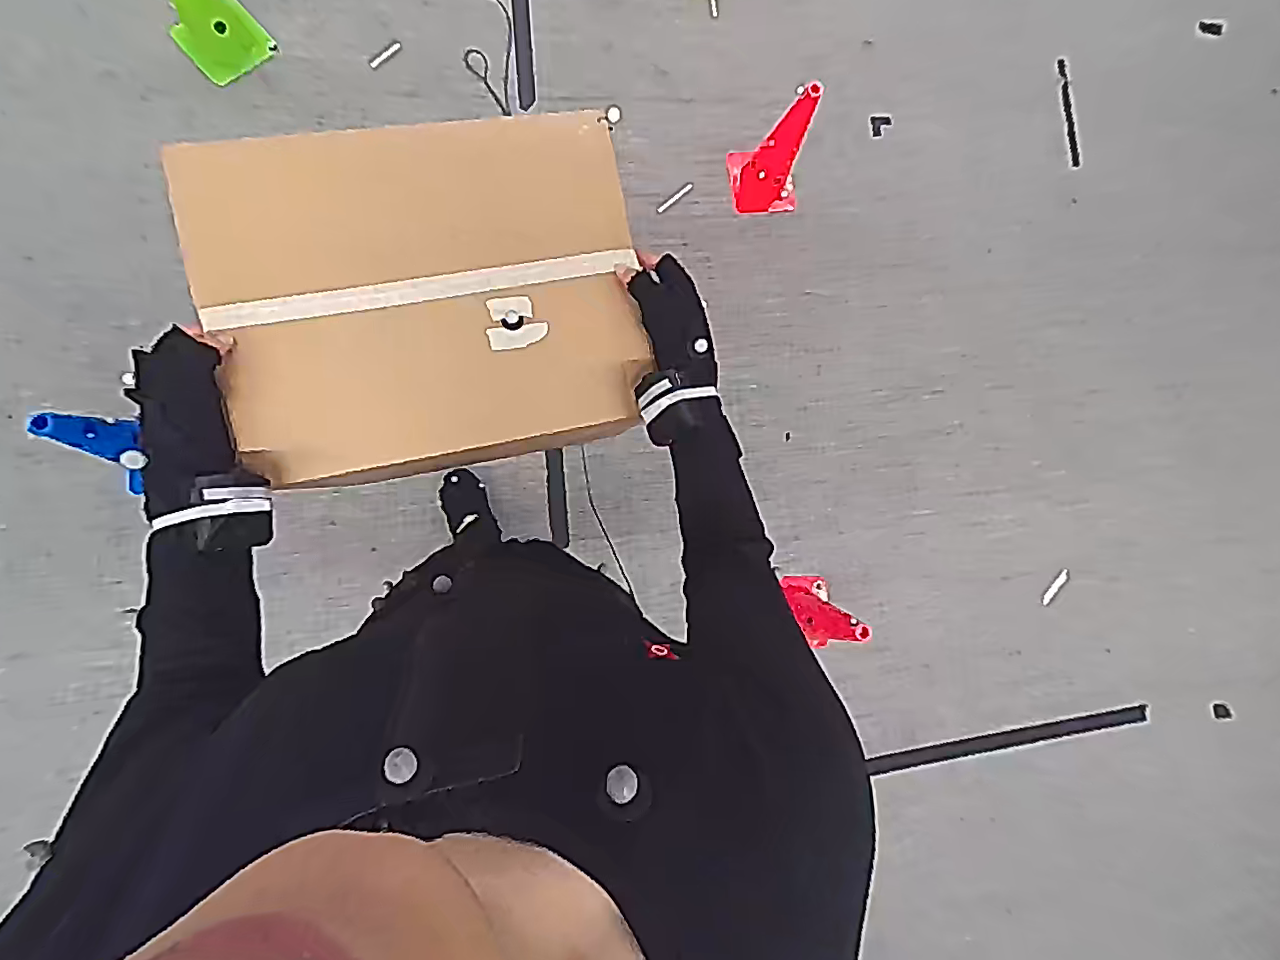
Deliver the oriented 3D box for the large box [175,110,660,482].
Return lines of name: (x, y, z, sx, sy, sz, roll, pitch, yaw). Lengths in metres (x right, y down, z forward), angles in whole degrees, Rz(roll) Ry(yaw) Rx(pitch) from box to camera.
large box: (-0.229, -0.190, 0.673, 0.408, 0.320, 0.320, -13, 93, -11)

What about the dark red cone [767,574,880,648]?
dark red cone: (0.472, 0.347, 1.344, 0.201, 0.394, 0.202, 1, 84, -7)

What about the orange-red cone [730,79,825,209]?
orange-red cone: (0.406, -0.943, 1.489, 0.198, 0.360, 0.199, -8, 84, -10)

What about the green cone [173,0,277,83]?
green cone: (-1.095, -1.209, 1.289, 0.202, 0.368, 0.200, -43, 91, -9)

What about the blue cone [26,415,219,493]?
blue cone: (-1.134, -0.083, 1.188, 0.192, 0.380, 0.193, -2, 84, -8)
